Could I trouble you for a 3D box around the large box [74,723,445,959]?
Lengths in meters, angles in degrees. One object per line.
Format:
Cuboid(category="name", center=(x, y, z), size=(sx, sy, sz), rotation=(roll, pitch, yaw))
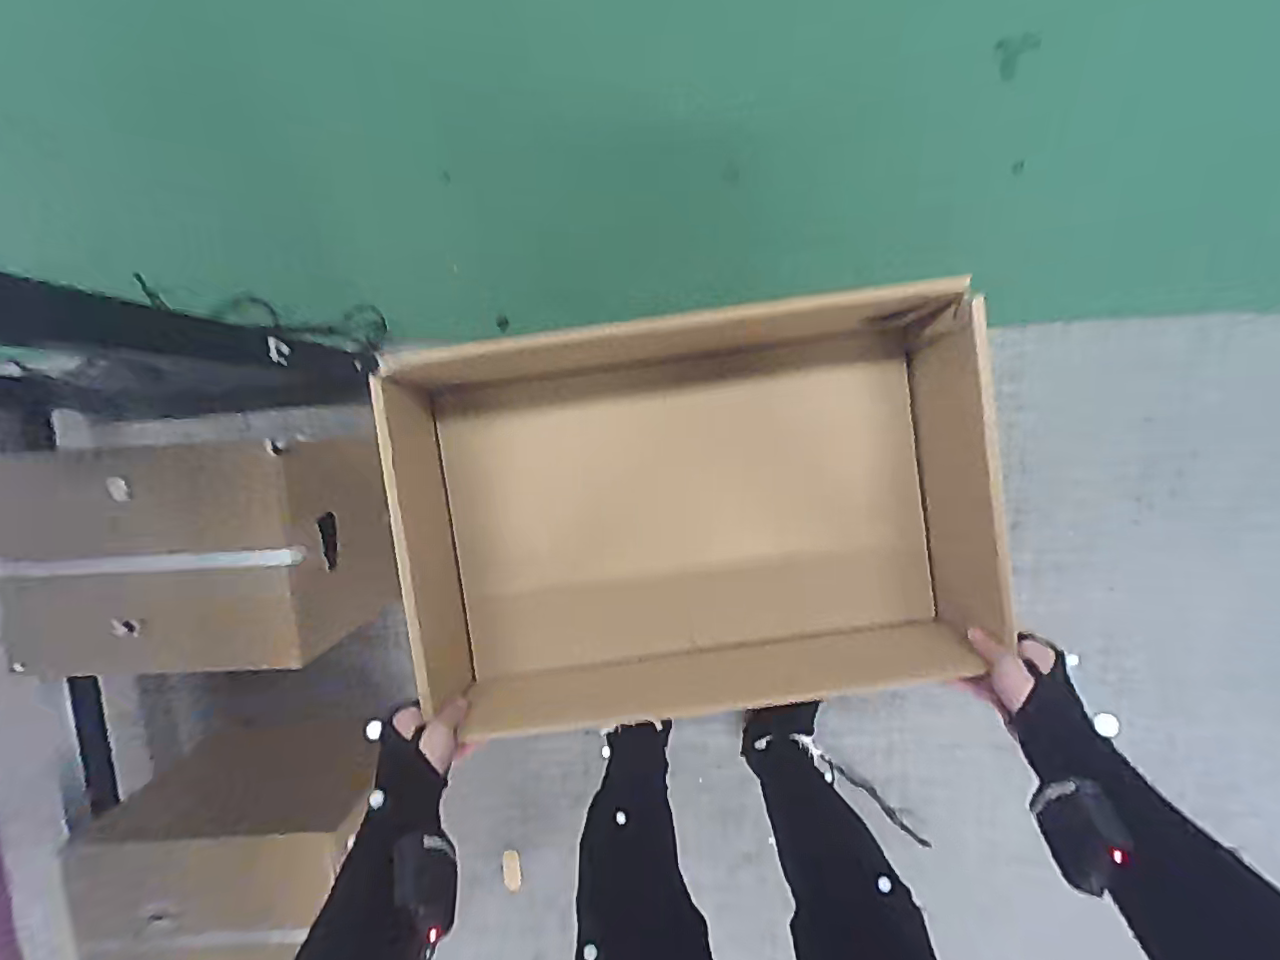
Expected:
Cuboid(category="large box", center=(-0.606, 0.656, 0.936), size=(0.408, 0.320, 0.320), rotation=(-5, 94, 3))
